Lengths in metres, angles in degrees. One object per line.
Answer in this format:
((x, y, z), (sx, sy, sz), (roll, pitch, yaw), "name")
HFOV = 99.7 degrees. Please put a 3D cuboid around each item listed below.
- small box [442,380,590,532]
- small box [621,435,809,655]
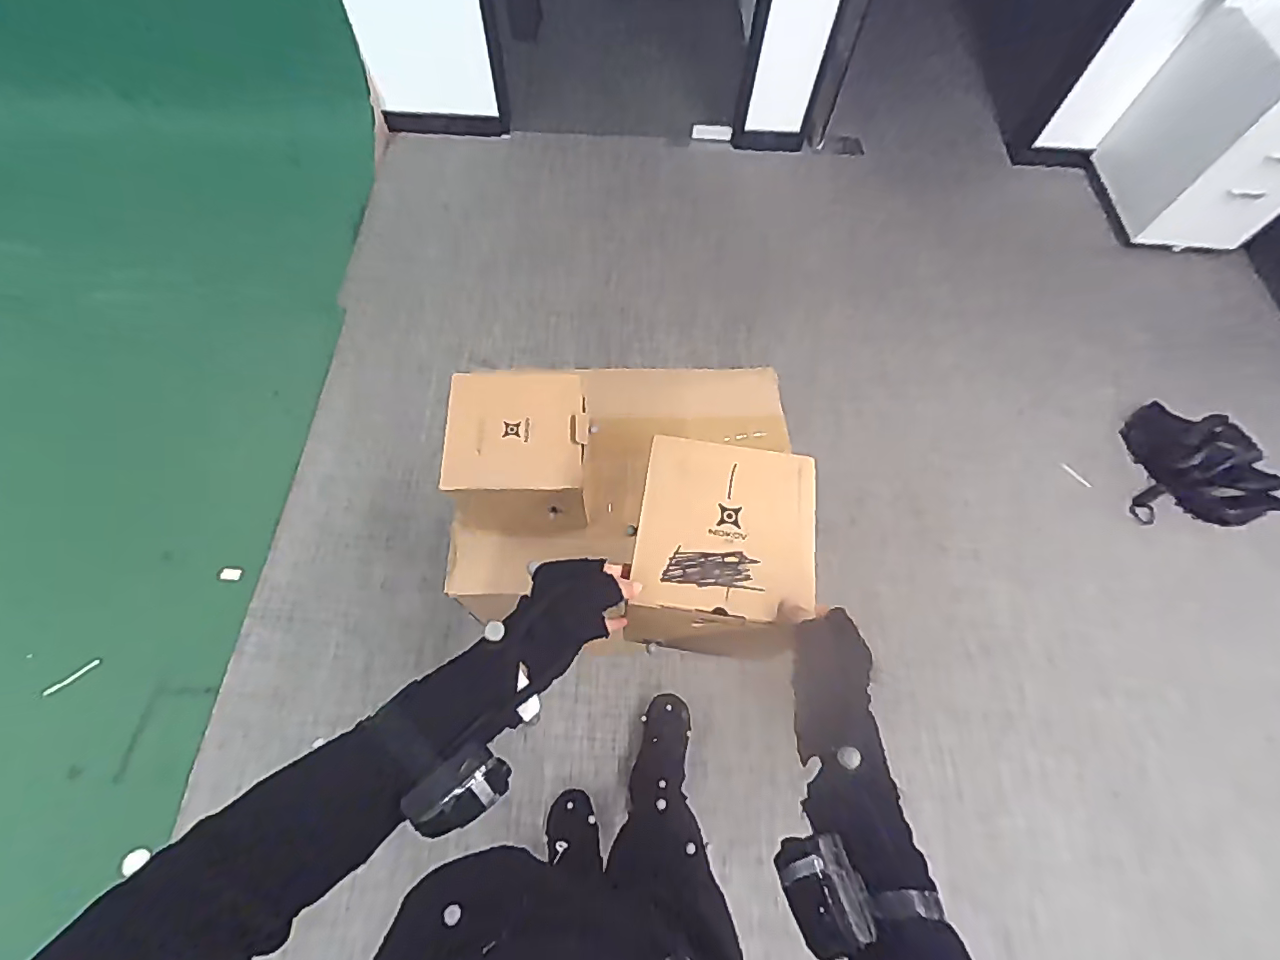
((-0.161, -0.027, 0.768), (0.179, 0.176, 0.168), (-2, 68, -2), "small box")
((0.075, 0.078, 0.581), (0.168, 0.176, 0.179), (8, 61, 2), "small box")
